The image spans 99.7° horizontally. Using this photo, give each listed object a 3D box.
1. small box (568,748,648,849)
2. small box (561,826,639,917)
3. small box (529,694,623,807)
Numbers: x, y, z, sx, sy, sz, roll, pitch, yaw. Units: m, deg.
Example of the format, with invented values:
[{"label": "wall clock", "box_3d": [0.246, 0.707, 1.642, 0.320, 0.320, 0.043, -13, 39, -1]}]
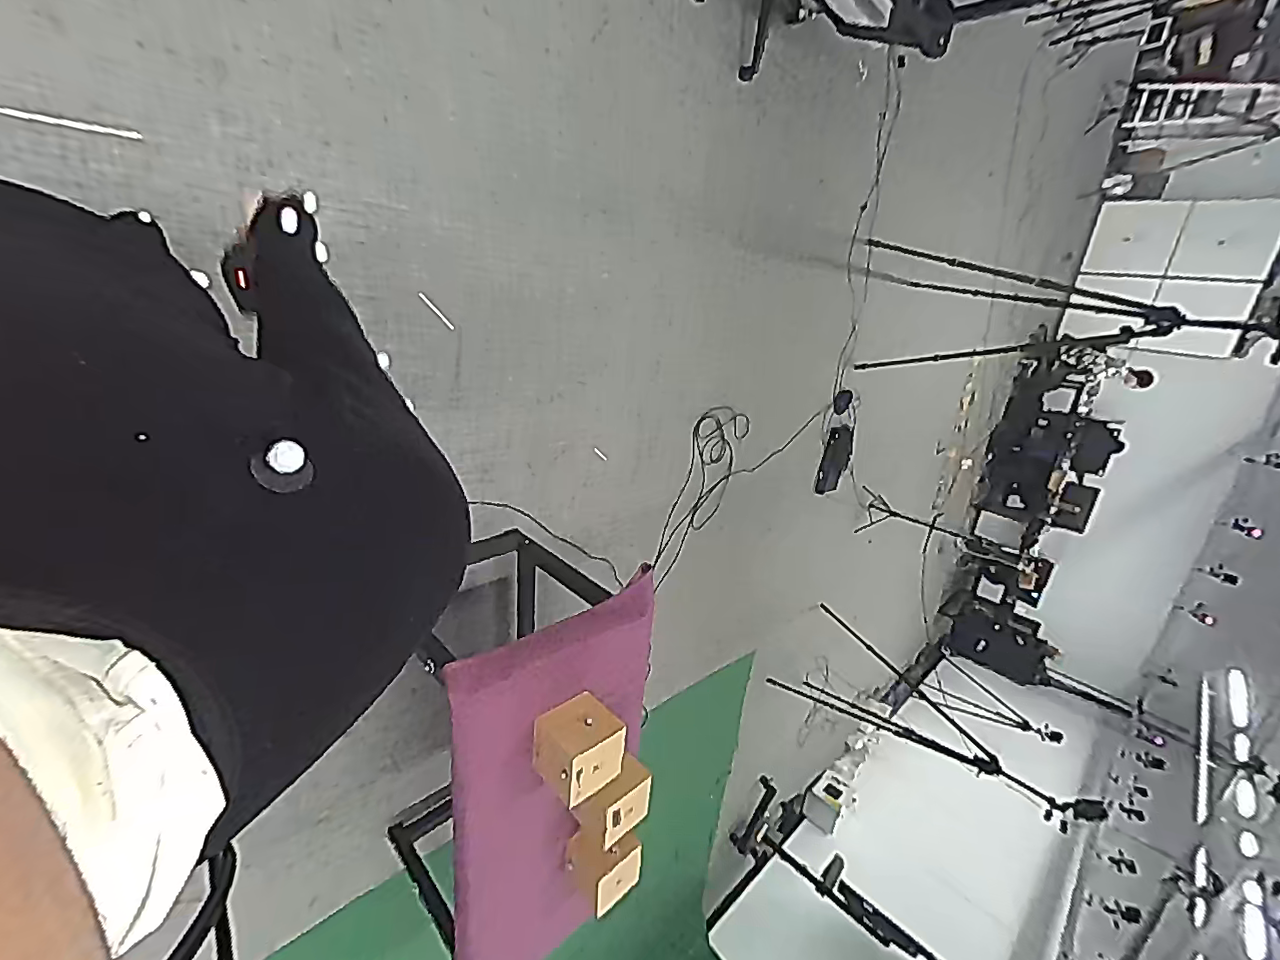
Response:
[{"label": "small box", "box_3d": [-0.099, 0.925, 1.601, 0.179, 0.176, 0.168, -15, 118, -43]}, {"label": "small box", "box_3d": [-0.126, 1.193, 1.696, 0.179, 0.176, 0.168, -15, 117, -42]}, {"label": "small box", "box_3d": [-0.170, 0.699, 1.423, 0.179, 0.176, 0.168, -13, 117, -43]}]
